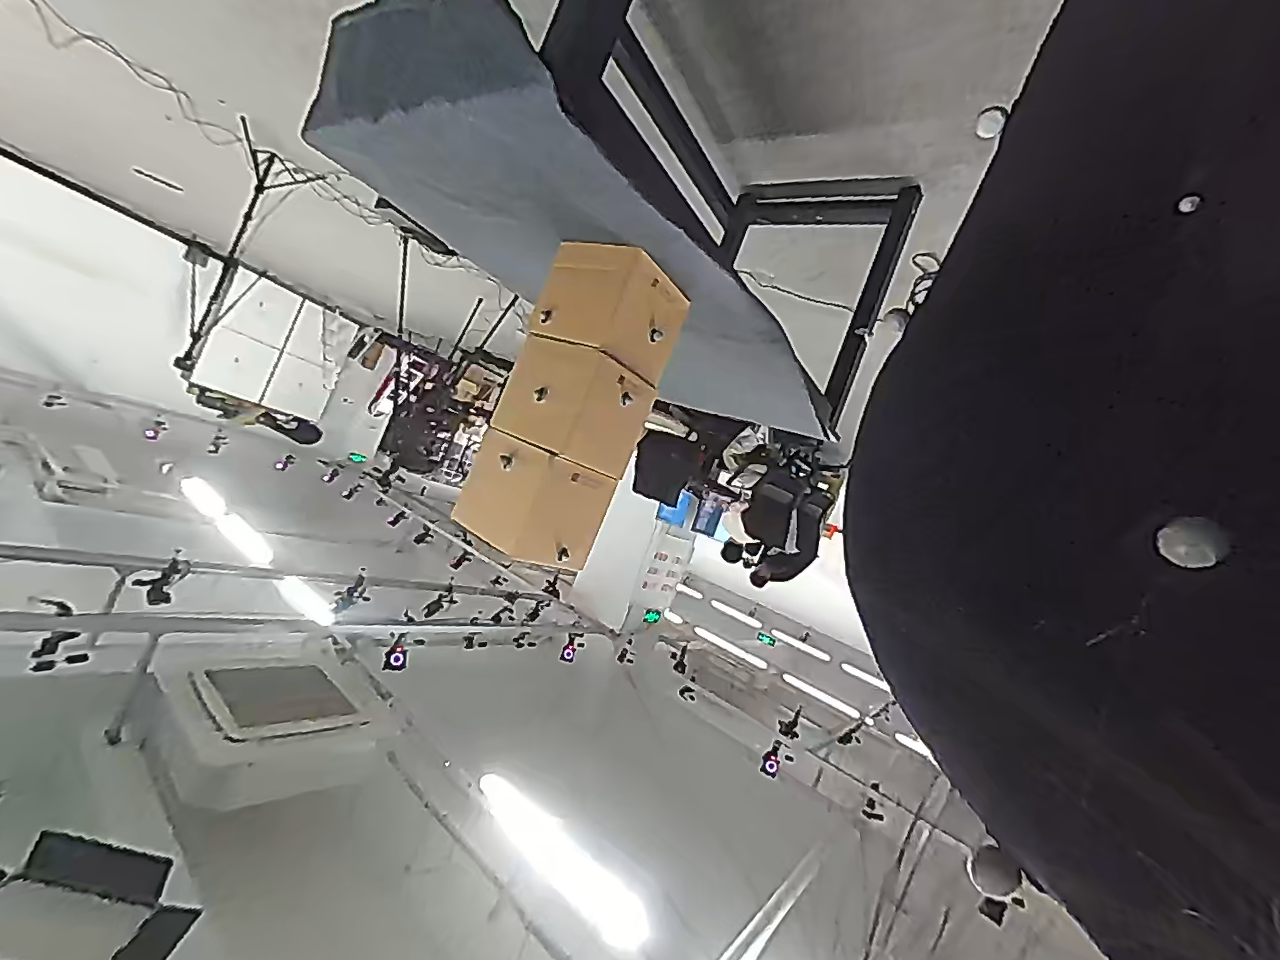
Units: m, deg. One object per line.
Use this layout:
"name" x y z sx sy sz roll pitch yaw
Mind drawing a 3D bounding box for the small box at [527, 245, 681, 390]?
"small box" -0.050 -0.271 0.901 0.179 0.176 0.168 22 179 35

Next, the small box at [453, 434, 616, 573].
"small box" -0.170 0.035 0.897 0.179 0.176 0.168 22 180 38
